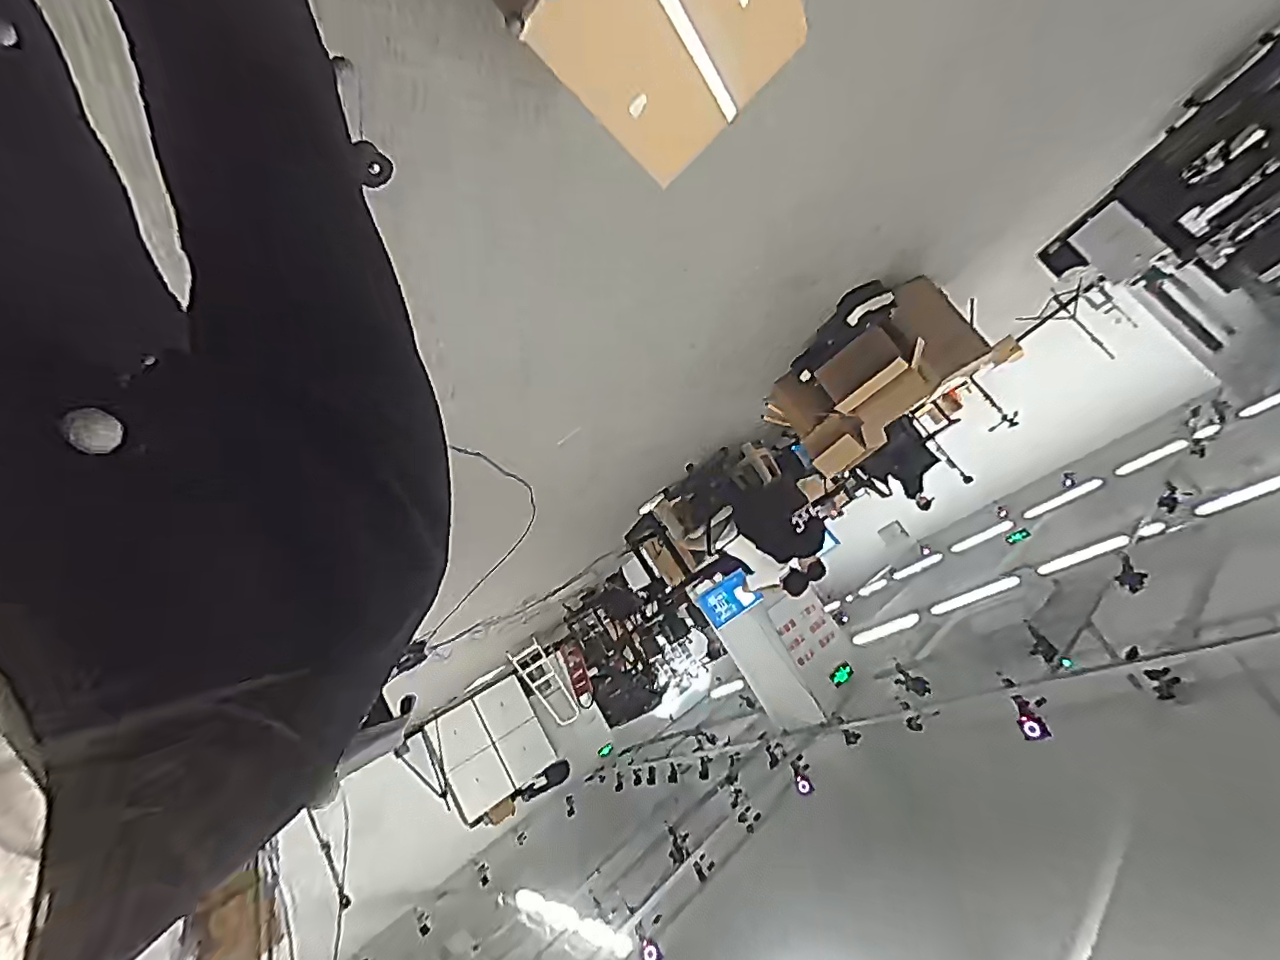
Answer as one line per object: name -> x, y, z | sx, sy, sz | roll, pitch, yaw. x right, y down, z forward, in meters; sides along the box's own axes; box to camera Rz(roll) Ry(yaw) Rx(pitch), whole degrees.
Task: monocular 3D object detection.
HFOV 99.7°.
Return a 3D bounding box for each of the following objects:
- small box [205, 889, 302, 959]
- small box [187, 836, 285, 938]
small box -> -1.069, 1.281, 1.498 | 0.179, 0.176, 0.168 | -24, 164, -37
small box -> -1.159, 1.157, 1.555 | 0.168, 0.176, 0.179 | -25, 161, -33
